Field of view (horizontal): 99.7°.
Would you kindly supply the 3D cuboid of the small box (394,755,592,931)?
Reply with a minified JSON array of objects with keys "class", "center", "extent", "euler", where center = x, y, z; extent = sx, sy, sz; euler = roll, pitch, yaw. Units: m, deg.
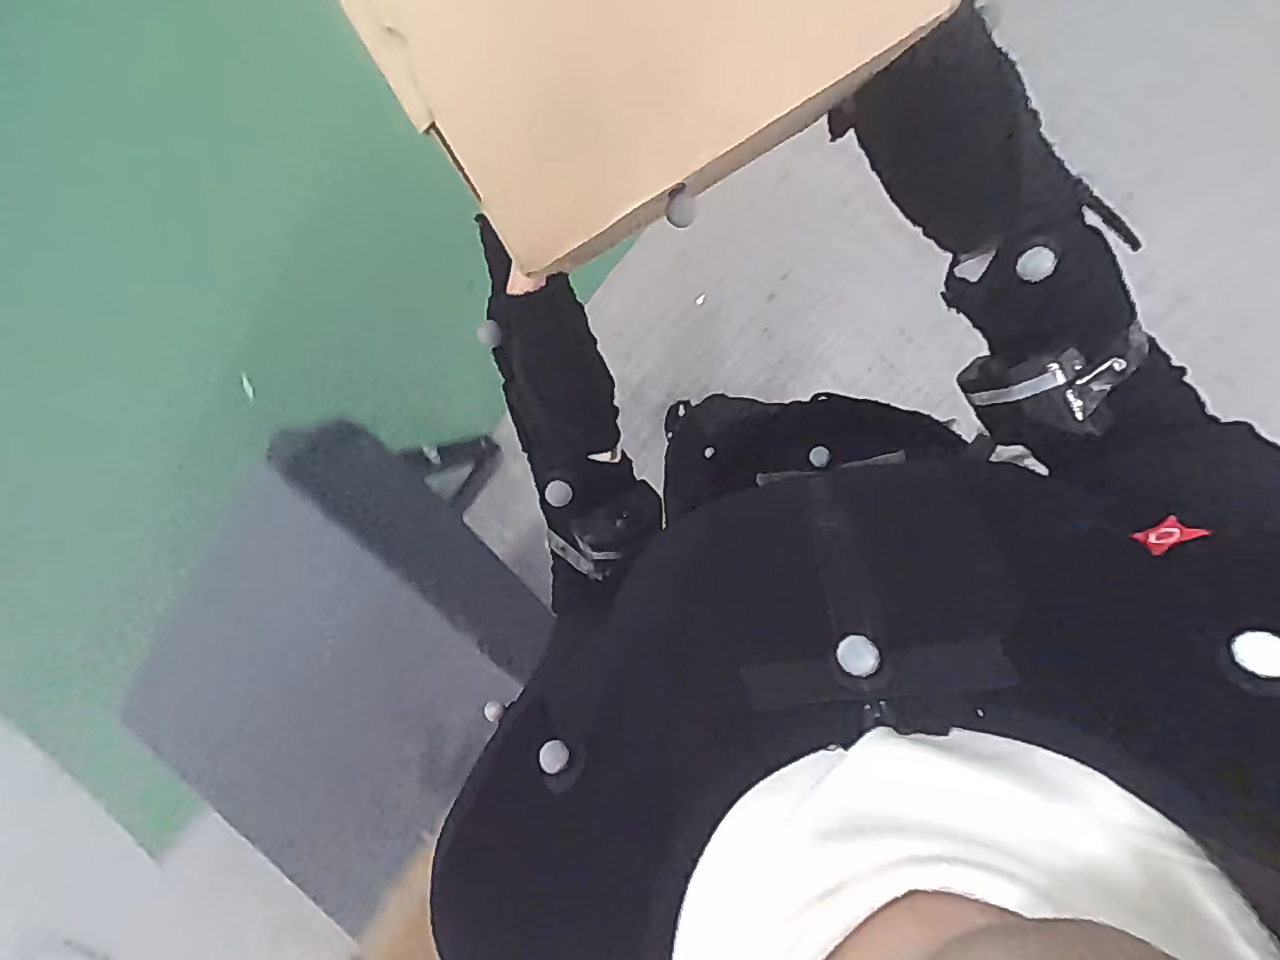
[{"class":"small box","center":[-0.199,0.532,0.773],"extent":[0.179,0.176,0.168],"euler":[43,106,1]}]

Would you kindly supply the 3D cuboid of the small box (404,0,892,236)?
[{"class":"small box","center":[-0.003,-0.233,0.246],"extent":[0.179,0.176,0.168],"euler":[-29,107,12]}]

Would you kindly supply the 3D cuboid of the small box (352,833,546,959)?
[{"class":"small box","center":[-0.229,0.557,0.614],"extent":[0.168,0.176,0.179],"euler":[40,105,3]}]
